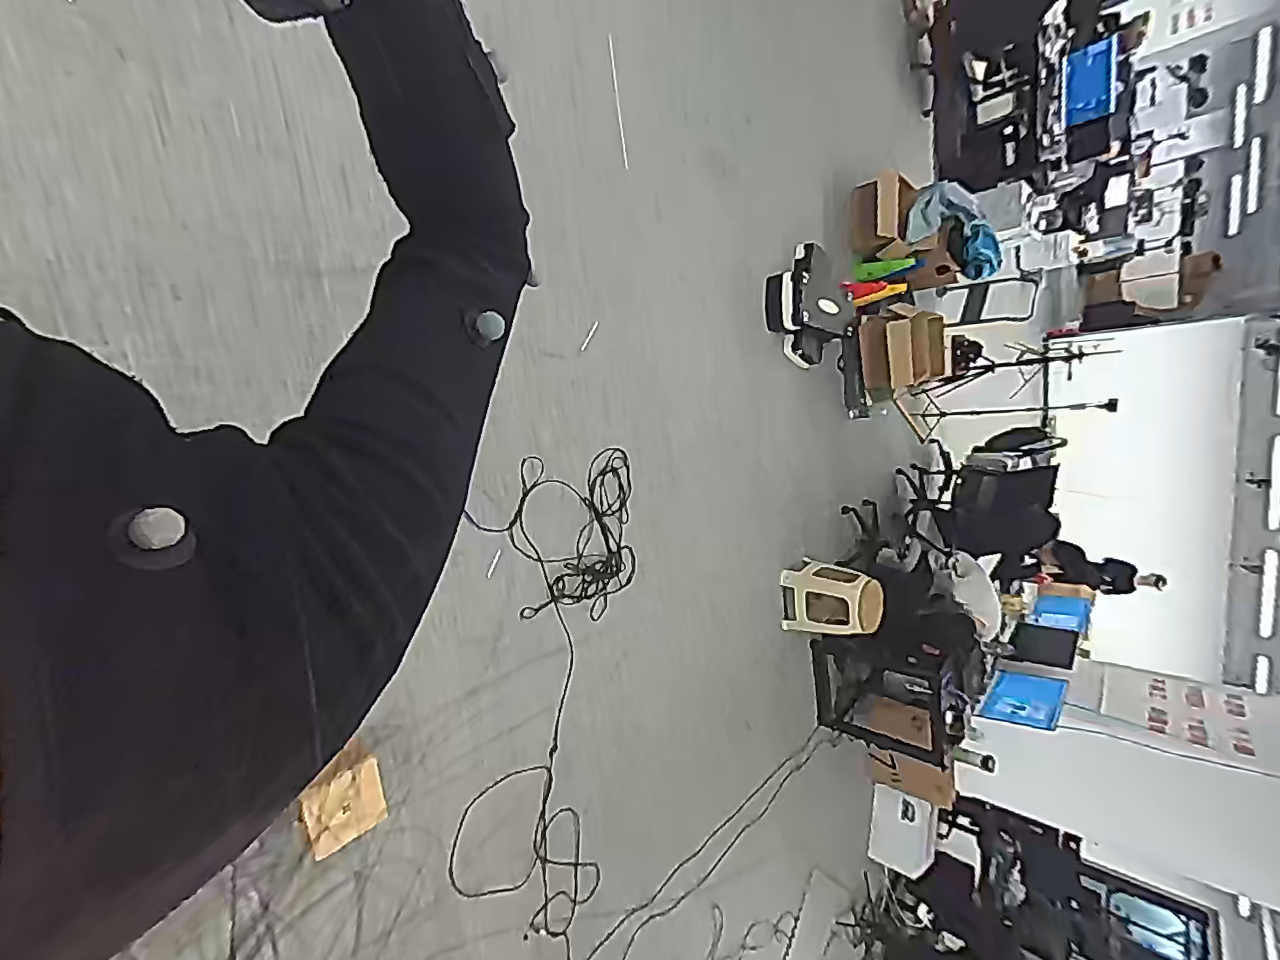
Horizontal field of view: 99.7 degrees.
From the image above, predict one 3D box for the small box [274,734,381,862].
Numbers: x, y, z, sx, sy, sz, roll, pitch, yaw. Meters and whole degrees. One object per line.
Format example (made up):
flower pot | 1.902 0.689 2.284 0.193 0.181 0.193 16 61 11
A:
small box | -0.754 0.753 1.303 0.168 0.176 0.179 -17 103 -45
